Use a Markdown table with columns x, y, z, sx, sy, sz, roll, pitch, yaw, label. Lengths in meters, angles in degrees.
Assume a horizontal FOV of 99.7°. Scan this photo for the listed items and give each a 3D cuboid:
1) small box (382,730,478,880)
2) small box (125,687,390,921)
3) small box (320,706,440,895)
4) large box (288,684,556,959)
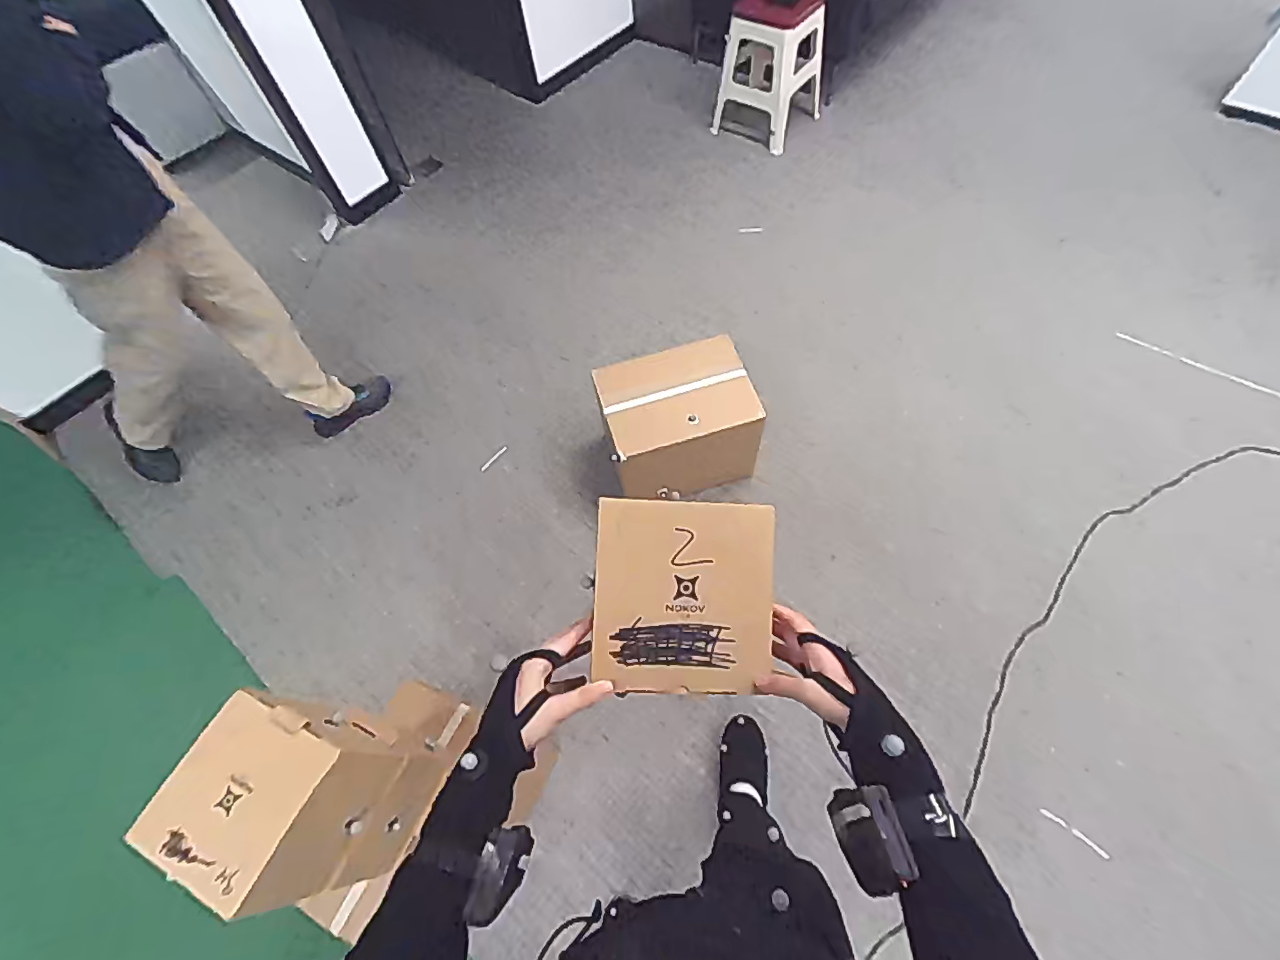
| x | y | z | sx | sy | sz | roll | pitch | yaw | label |
| --- | --- | --- | --- | --- | --- | --- | --- | --- | --- |
| -0.415 | 0.555 | 0.948 | 0.179 | 0.176 | 0.168 | 21 | 64 | 16 | small box |
| -0.443 | 0.388 | 0.667 | 0.168 | 0.176 | 0.179 | 21 | 62 | 16 | small box |
| -0.428 | 0.469 | 0.809 | 0.168 | 0.176 | 0.179 | 20 | 64 | 15 | small box |
| -0.427 | 0.706 | 1.144 | 0.320 | 0.320 | 0.408 | 20 | 65 | 17 | large box |
